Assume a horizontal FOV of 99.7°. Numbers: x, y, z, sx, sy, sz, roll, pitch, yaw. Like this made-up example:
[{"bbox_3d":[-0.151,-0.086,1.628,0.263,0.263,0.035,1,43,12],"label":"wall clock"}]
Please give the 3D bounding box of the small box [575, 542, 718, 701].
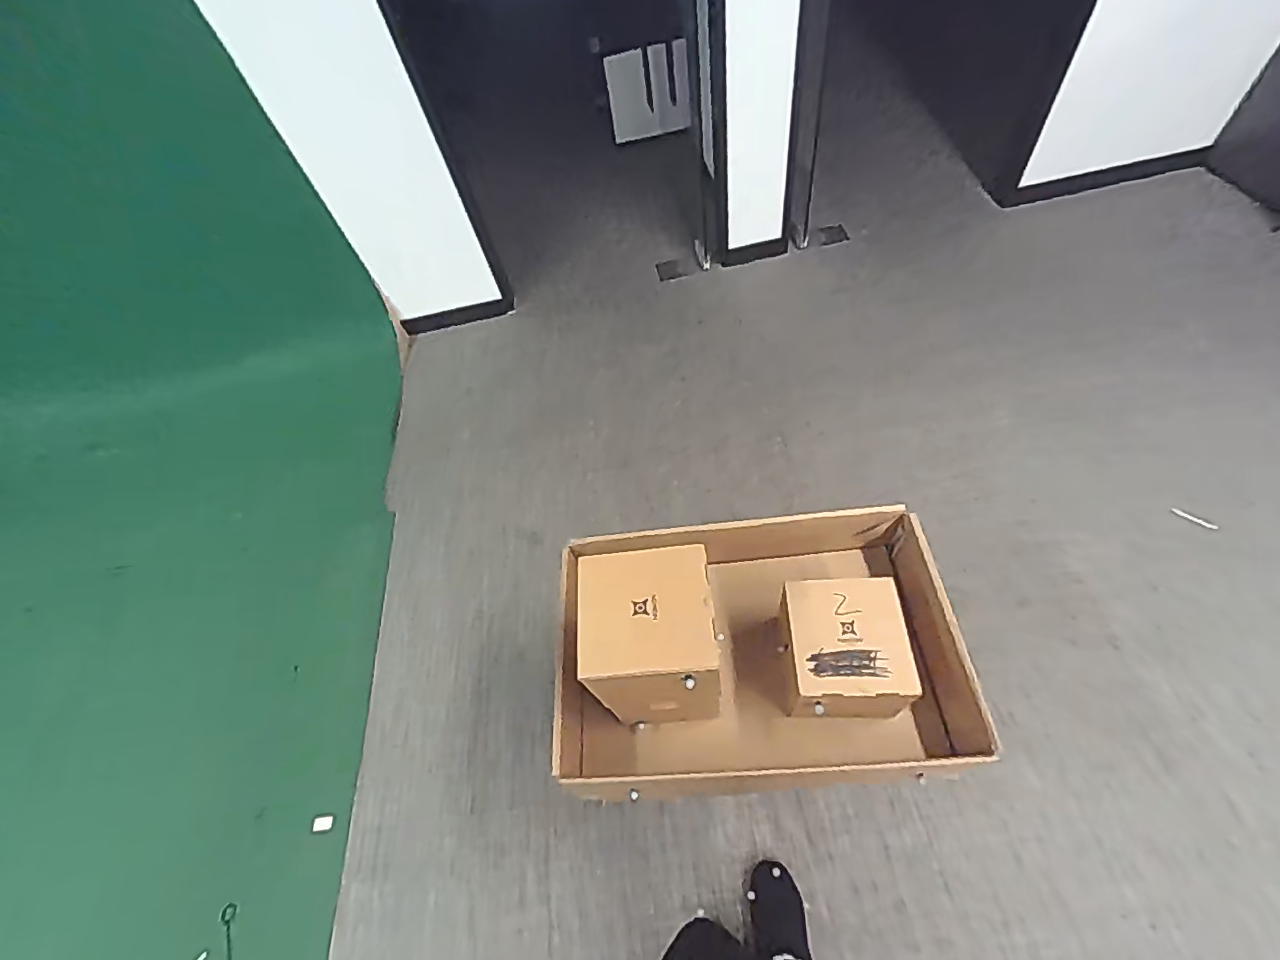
[{"bbox_3d":[0.013,0.205,0.760,0.179,0.176,0.168,-6,56,4],"label":"small box"}]
